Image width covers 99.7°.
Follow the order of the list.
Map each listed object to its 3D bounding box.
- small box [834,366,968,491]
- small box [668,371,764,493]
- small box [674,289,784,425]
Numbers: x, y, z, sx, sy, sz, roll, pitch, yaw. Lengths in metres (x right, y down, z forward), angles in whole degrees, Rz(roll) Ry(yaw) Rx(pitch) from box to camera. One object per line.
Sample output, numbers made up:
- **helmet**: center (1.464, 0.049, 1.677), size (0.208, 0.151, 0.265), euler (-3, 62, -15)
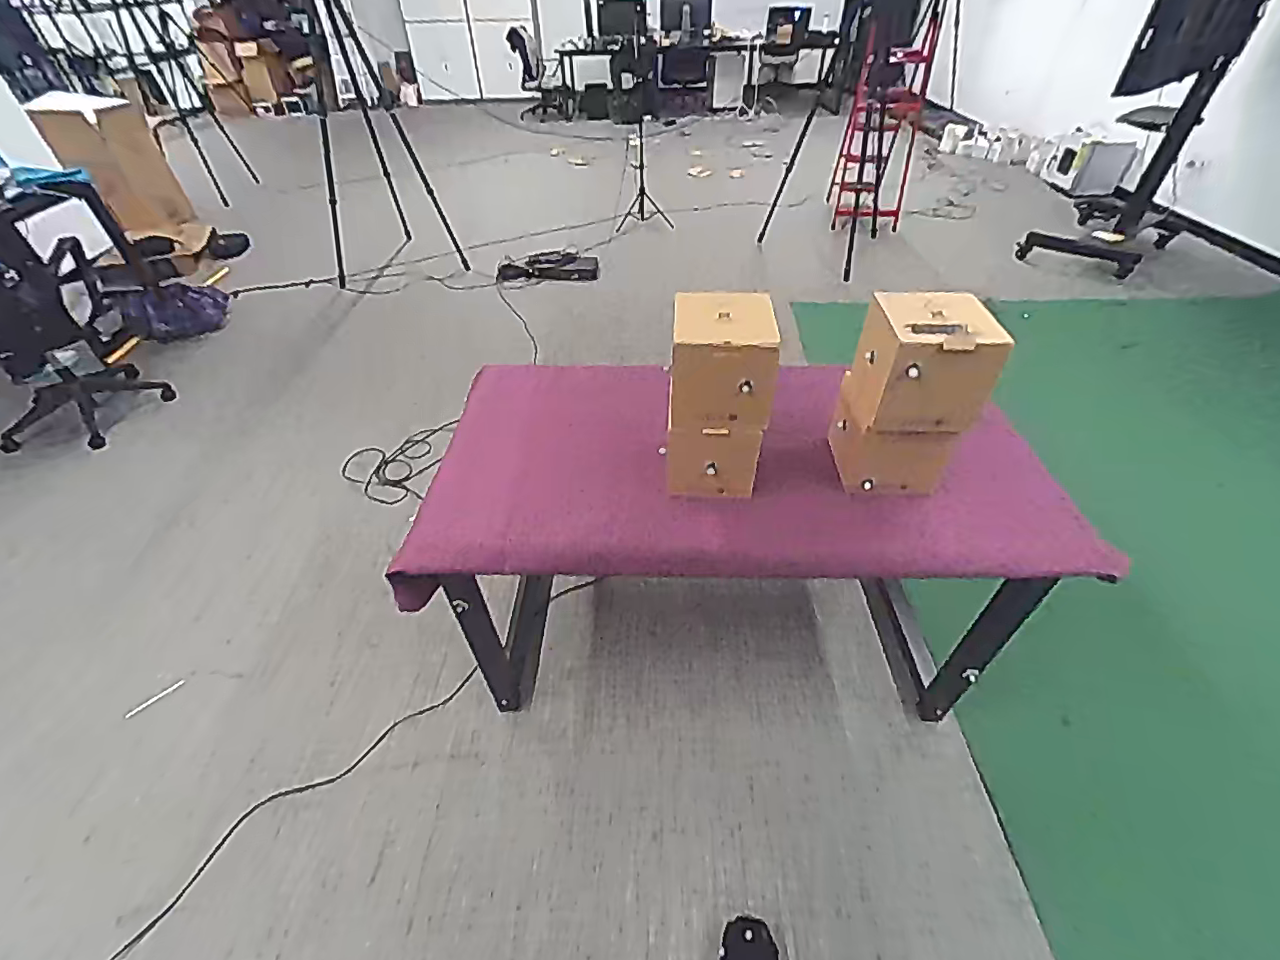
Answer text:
- **small box**: center (0.482, -0.096, 1.028), size (0.168, 0.176, 0.179), euler (4, 45, 4)
- **small box**: center (0.141, -0.090, 1.036), size (0.168, 0.176, 0.179), euler (3, 45, 4)
- **small box**: center (0.144, -0.209, 0.924), size (0.168, 0.176, 0.179), euler (2, 44, 4)
